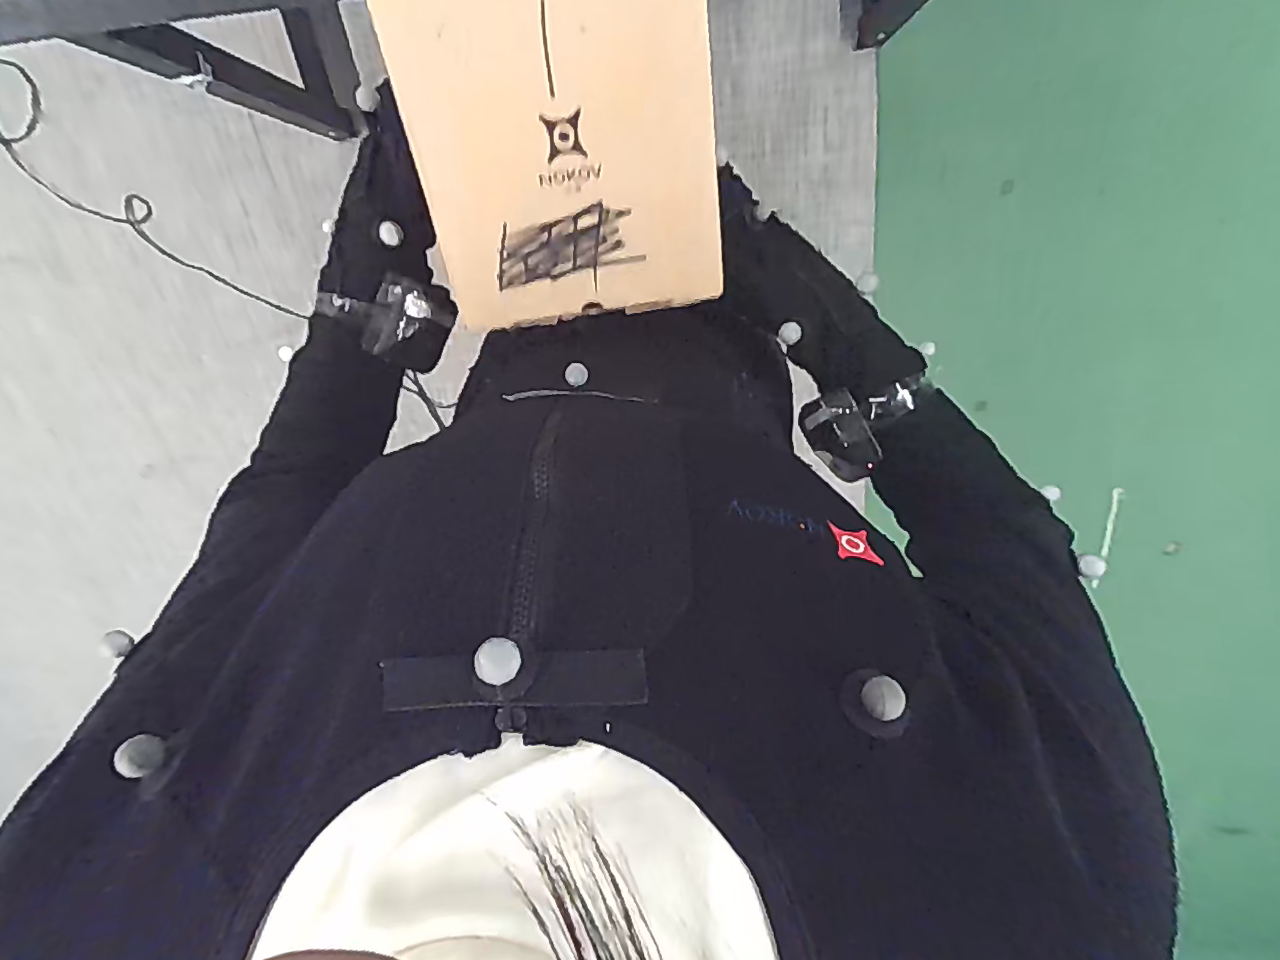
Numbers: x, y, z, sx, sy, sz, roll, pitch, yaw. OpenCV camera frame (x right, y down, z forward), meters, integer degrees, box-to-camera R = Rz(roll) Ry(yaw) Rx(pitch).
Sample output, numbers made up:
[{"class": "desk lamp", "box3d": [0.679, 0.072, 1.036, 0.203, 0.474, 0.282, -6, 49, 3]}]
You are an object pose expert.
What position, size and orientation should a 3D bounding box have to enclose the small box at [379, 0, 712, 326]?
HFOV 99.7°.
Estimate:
[{"class": "small box", "box3d": [-0.042, -0.221, 0.375, 0.168, 0.176, 0.179, -6, 119, 3]}]
